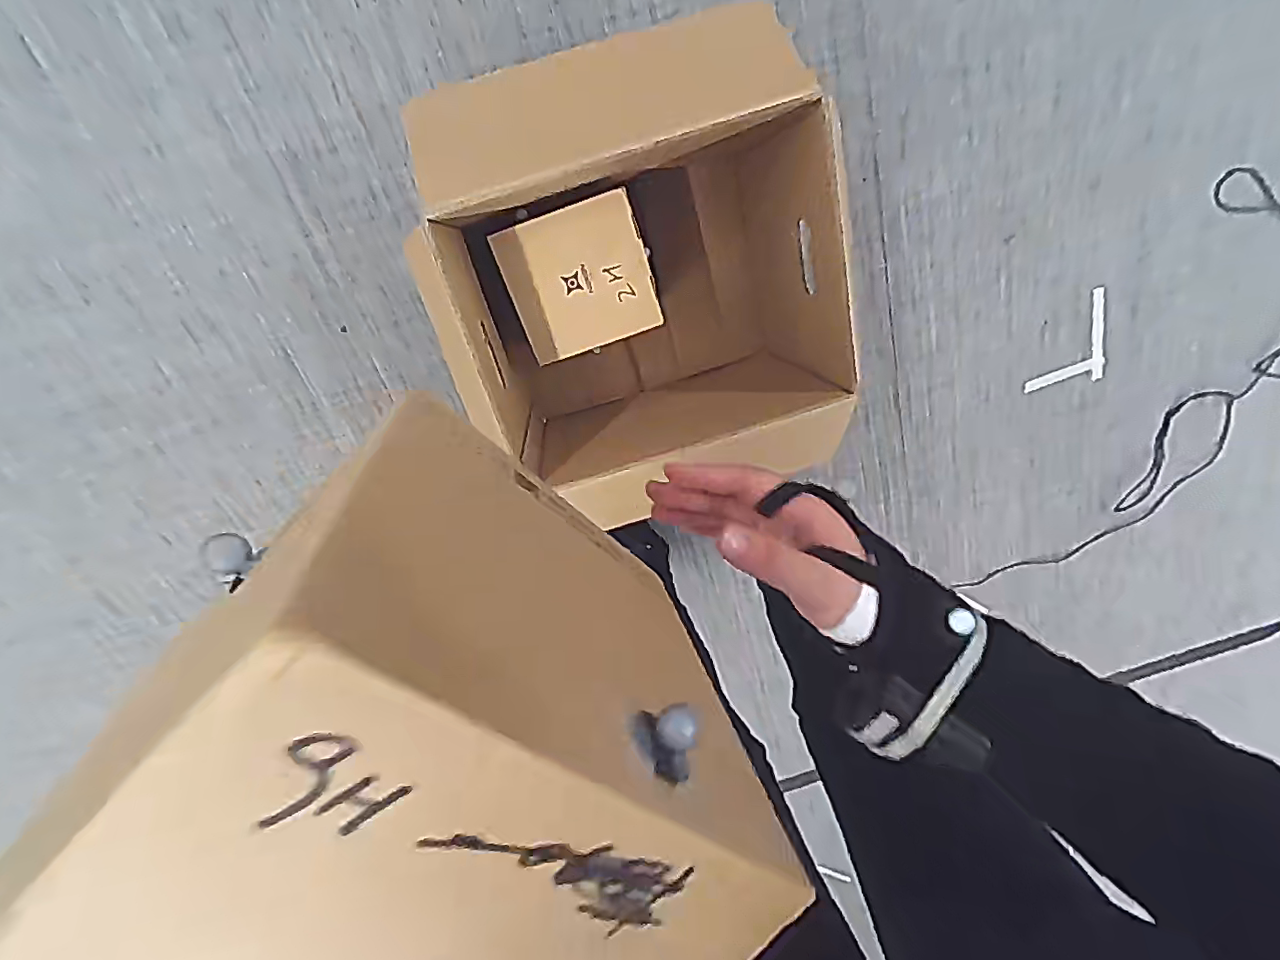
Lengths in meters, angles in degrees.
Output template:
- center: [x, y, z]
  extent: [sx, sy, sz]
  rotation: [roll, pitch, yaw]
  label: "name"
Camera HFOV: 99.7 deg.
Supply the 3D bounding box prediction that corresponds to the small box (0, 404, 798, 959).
- center: [-0.082, 0.099, 0.211]
  extent: [0.179, 0.176, 0.168]
  rotation: [-45, 117, 6]
  label: "small box"
